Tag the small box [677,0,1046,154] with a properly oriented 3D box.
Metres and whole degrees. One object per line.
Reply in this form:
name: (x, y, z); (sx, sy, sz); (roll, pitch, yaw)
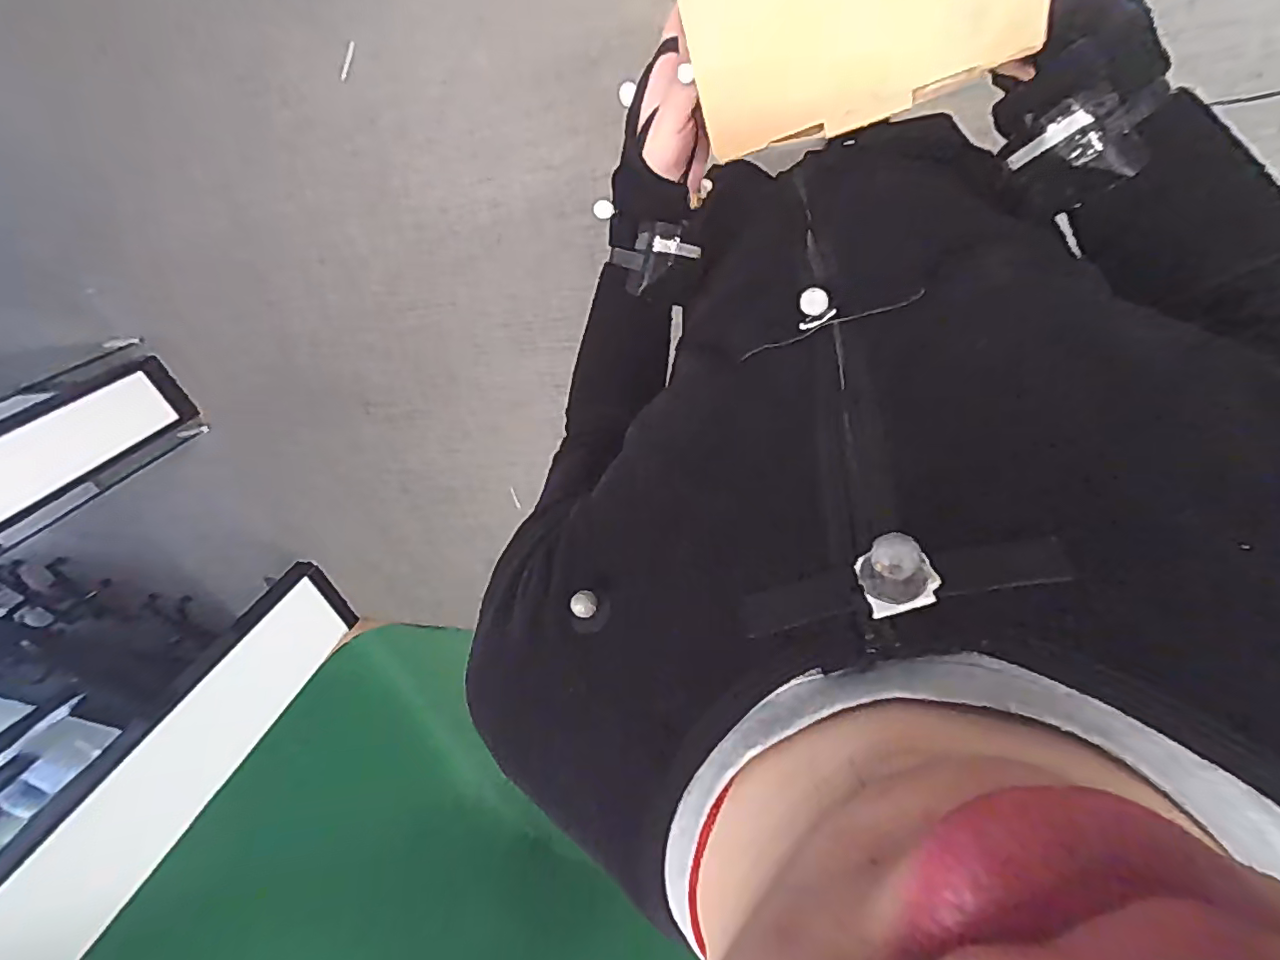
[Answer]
small box: (0.101, -0.315, 0.293); (0.168, 0.176, 0.179); (-10, 128, 18)
